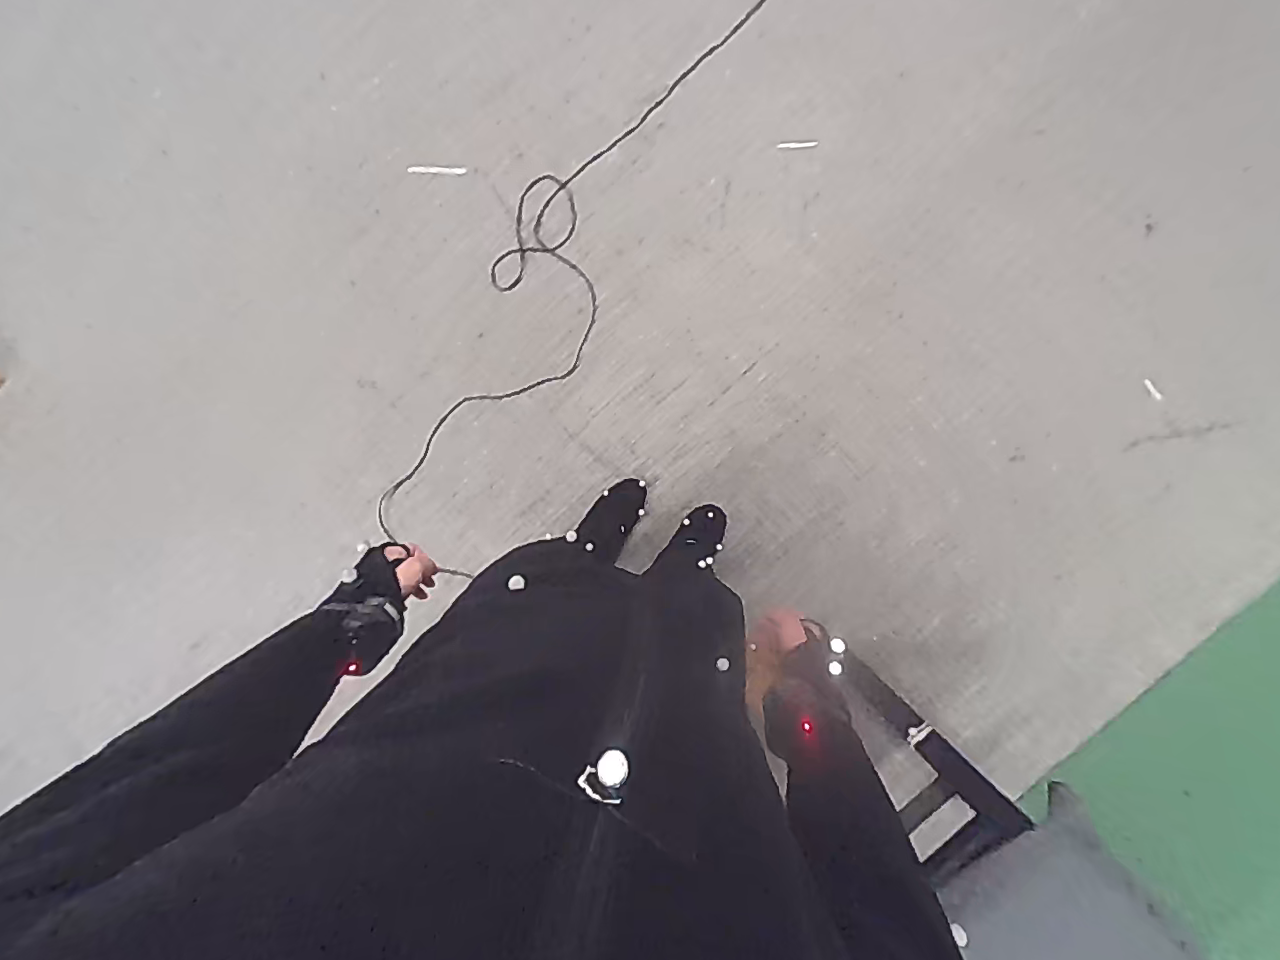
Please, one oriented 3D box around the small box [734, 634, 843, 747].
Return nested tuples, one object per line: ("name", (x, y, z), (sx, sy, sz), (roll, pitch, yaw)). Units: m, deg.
("small box", (0.353, 0.500, 1.324), (0.168, 0.176, 0.179), (-38, 93, 1))
